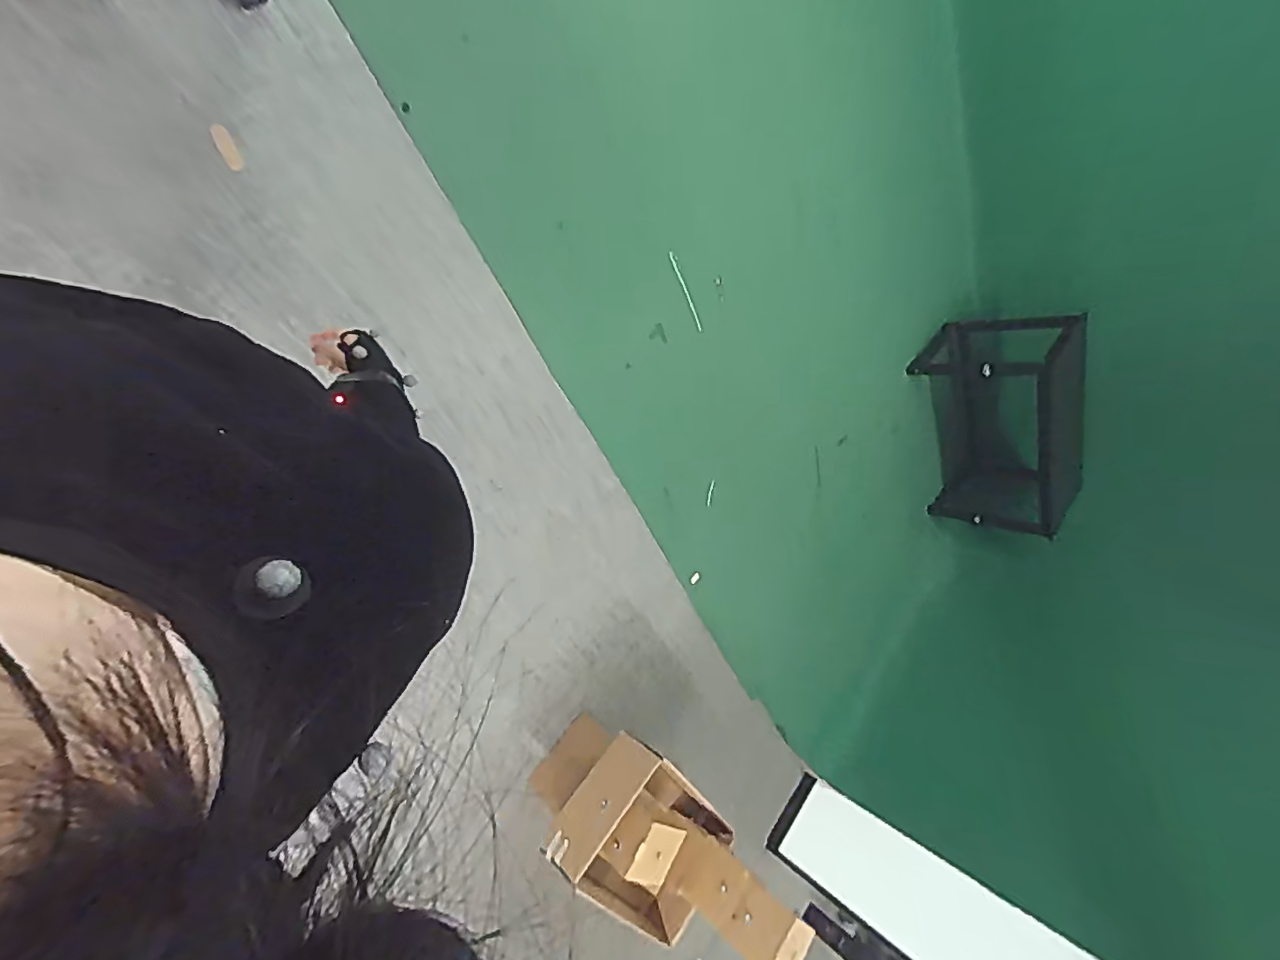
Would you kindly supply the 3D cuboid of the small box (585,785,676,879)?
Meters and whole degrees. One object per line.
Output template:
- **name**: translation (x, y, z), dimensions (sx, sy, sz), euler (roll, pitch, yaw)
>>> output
- **small box**: translation (-0.033, 1.050, 1.623), dimensions (0.179, 0.176, 0.168), euler (44, 71, -38)

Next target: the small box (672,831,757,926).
- **small box**: translation (0.221, 1.234, 1.662), dimensions (0.179, 0.176, 0.168), euler (-52, 127, -21)

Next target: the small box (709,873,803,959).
- **small box**: translation (0.329, 1.272, 1.543), dimensions (0.168, 0.176, 0.179), euler (-50, 126, -23)
